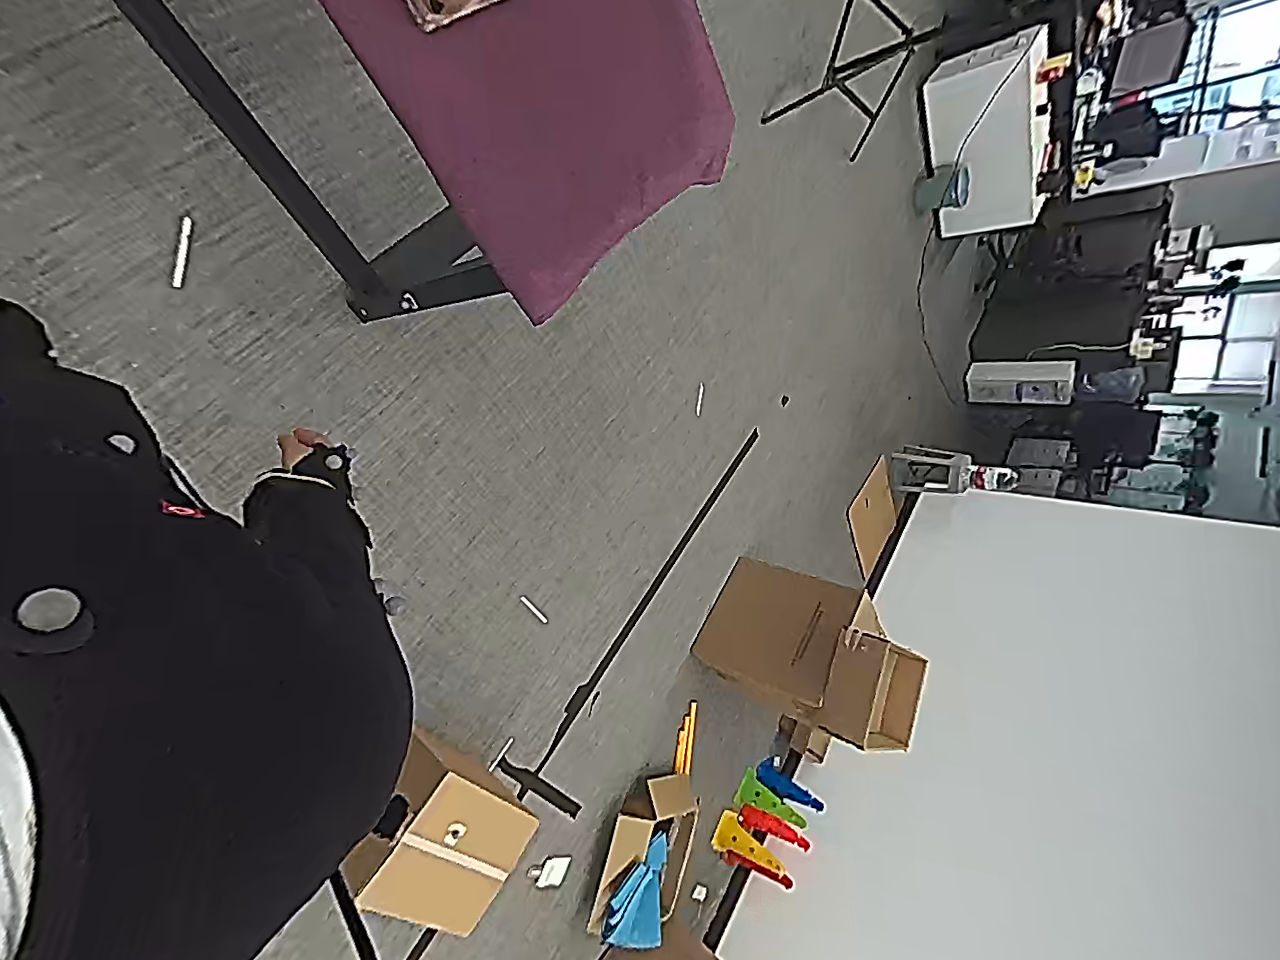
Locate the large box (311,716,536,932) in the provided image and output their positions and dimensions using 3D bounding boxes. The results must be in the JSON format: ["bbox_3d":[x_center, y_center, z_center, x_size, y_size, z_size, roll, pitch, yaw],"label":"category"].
[{"bbox_3d":[-0.567,0.907,1.444,0.320,0.320,0.408,-54,130,-25],"label":"large box"}]
